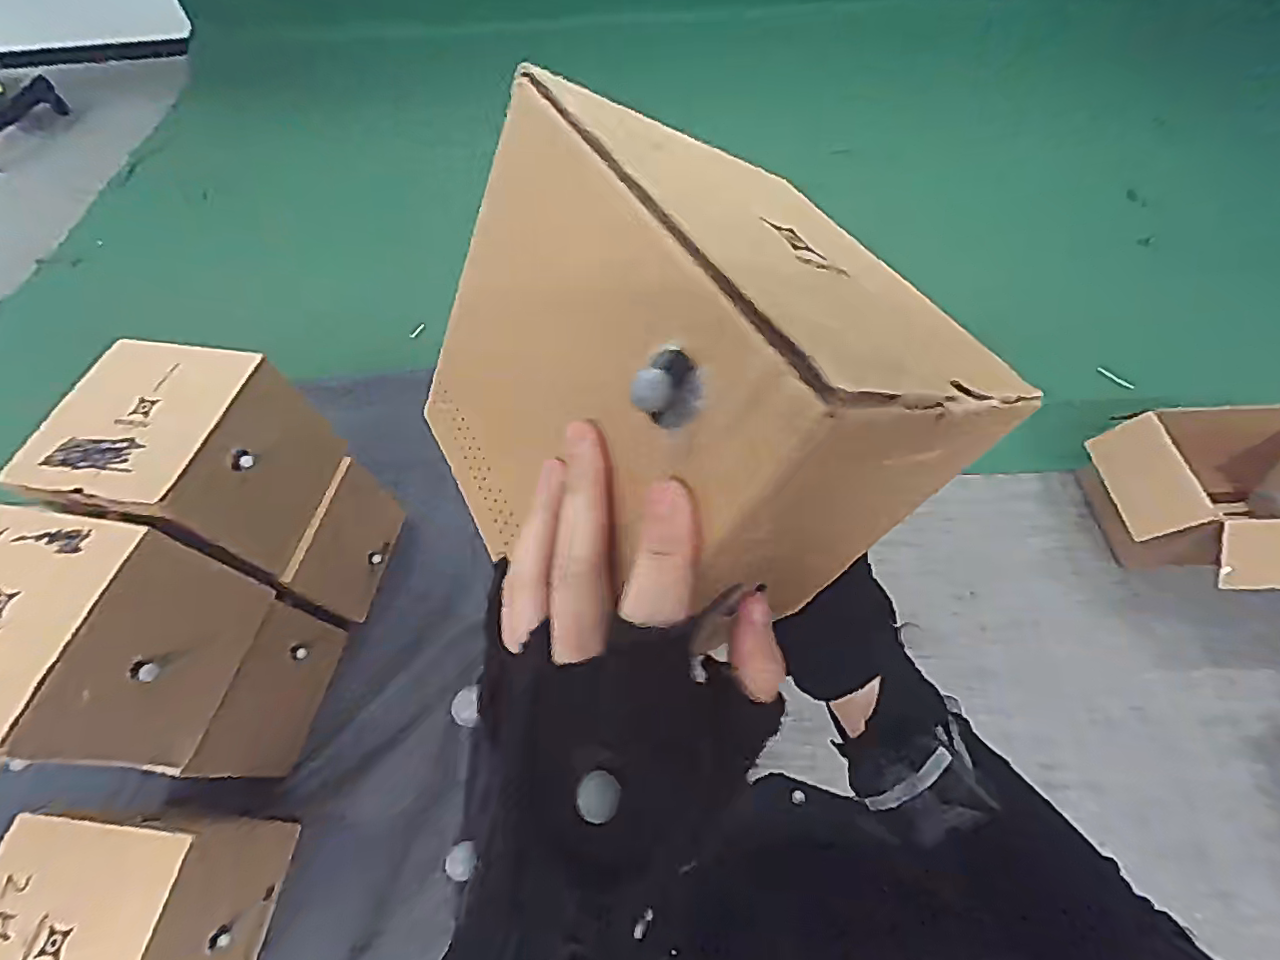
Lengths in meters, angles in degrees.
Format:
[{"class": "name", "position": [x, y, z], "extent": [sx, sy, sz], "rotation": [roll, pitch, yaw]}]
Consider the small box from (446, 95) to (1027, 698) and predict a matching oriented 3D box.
[{"class": "small box", "position": [0.026, -0.031, 0.262], "extent": [0.168, 0.176, 0.179], "rotation": [-8, 55, -42]}]
